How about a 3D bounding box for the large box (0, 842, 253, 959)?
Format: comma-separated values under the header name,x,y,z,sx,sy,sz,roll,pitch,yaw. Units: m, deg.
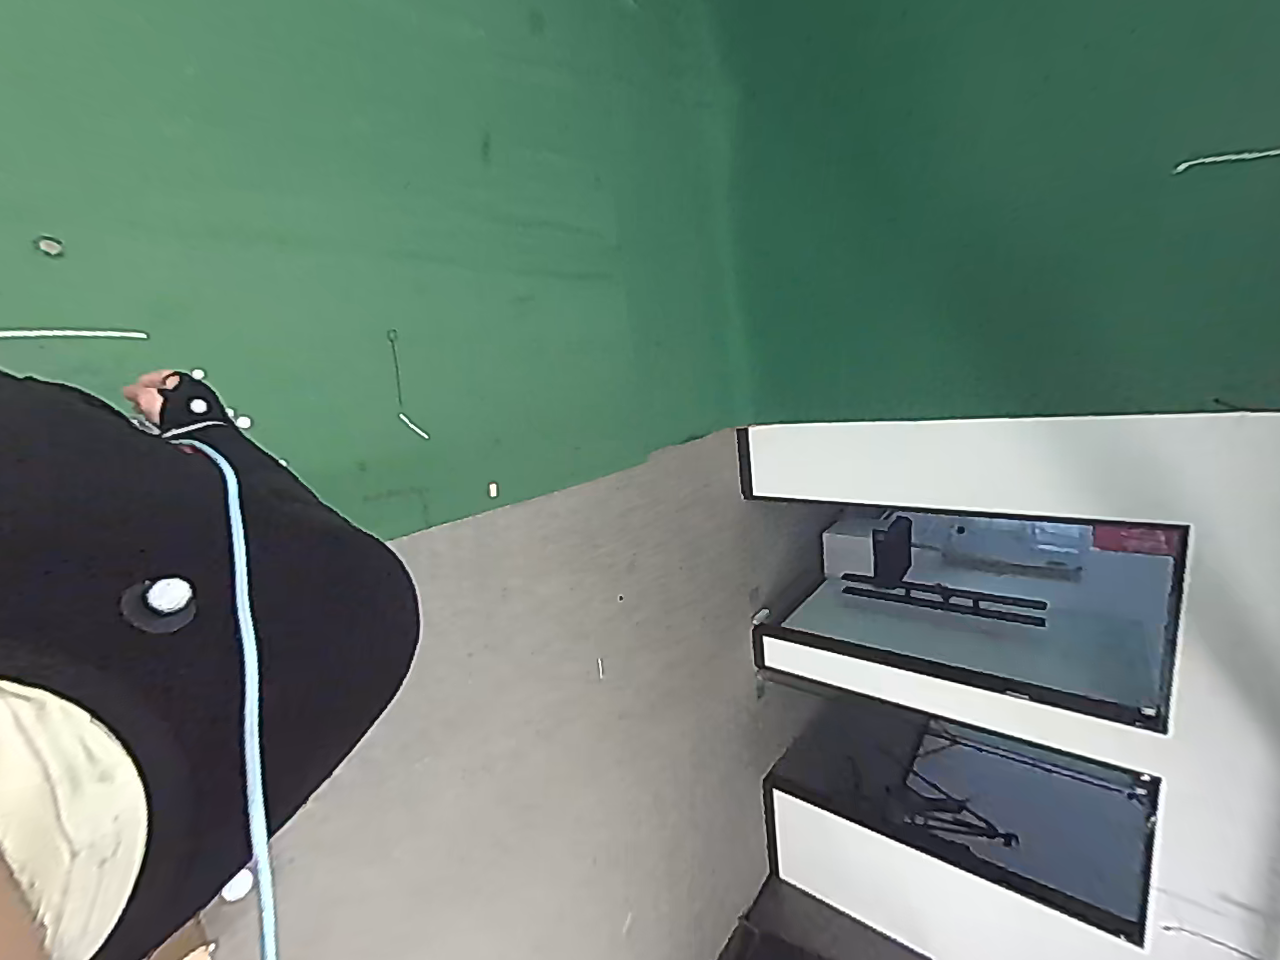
name,x,y,z,sx,sy,sz,roll,pitch,yaw
large box,-1.120,1.115,1.166,0.408,0.320,0.320,-23,110,-48
